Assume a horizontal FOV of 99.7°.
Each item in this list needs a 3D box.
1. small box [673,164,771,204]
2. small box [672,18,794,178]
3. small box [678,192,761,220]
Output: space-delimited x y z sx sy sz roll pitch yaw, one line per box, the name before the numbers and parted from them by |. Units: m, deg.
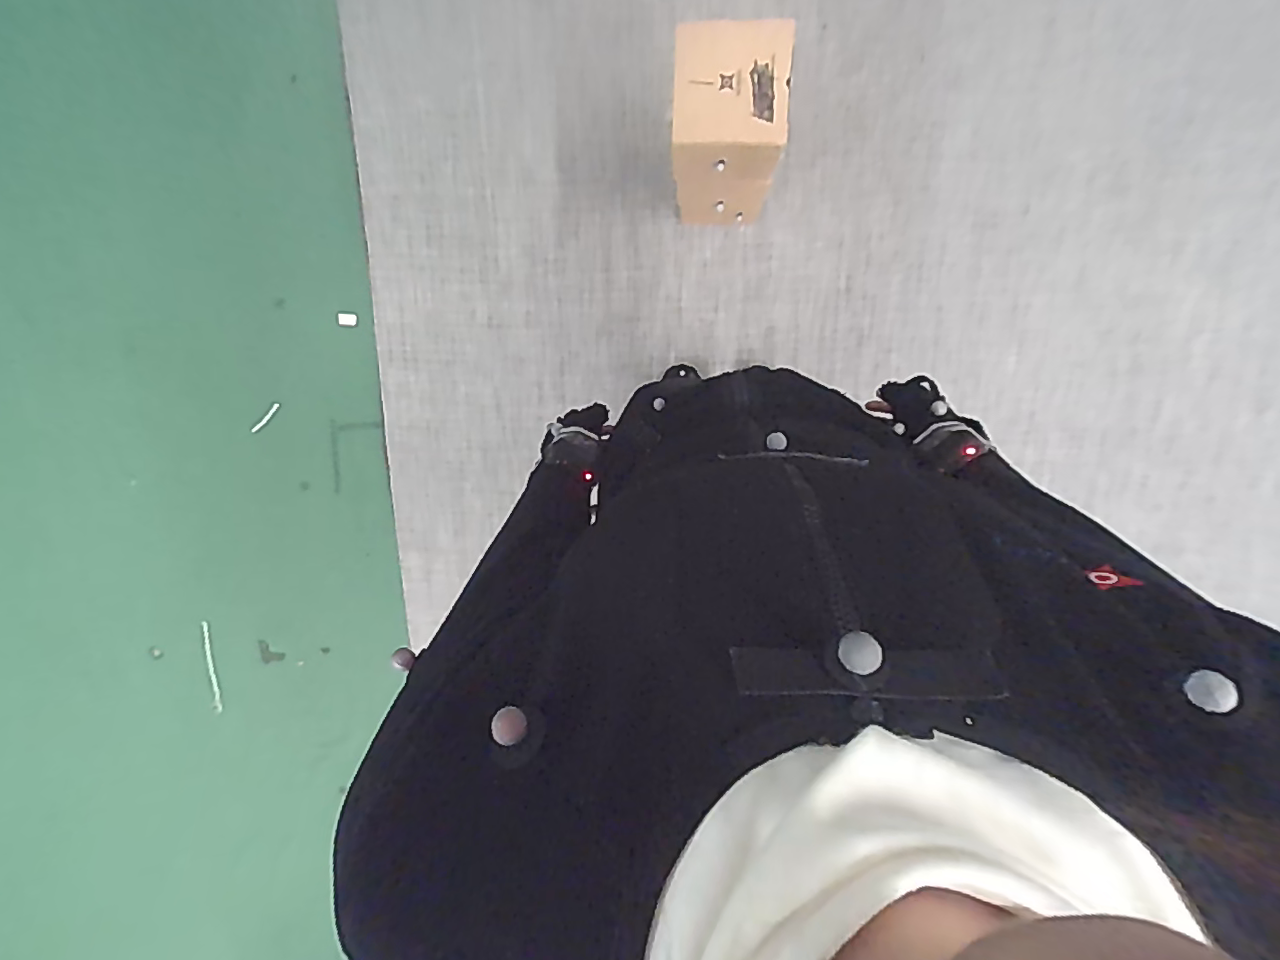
small box | 0.159 -0.645 1.044 0.179 0.176 0.168 5 103 3
small box | 0.142 -0.611 0.884 0.179 0.176 0.168 0 103 4
small box | 0.175 -0.687 1.202 0.179 0.176 0.168 1 102 6
